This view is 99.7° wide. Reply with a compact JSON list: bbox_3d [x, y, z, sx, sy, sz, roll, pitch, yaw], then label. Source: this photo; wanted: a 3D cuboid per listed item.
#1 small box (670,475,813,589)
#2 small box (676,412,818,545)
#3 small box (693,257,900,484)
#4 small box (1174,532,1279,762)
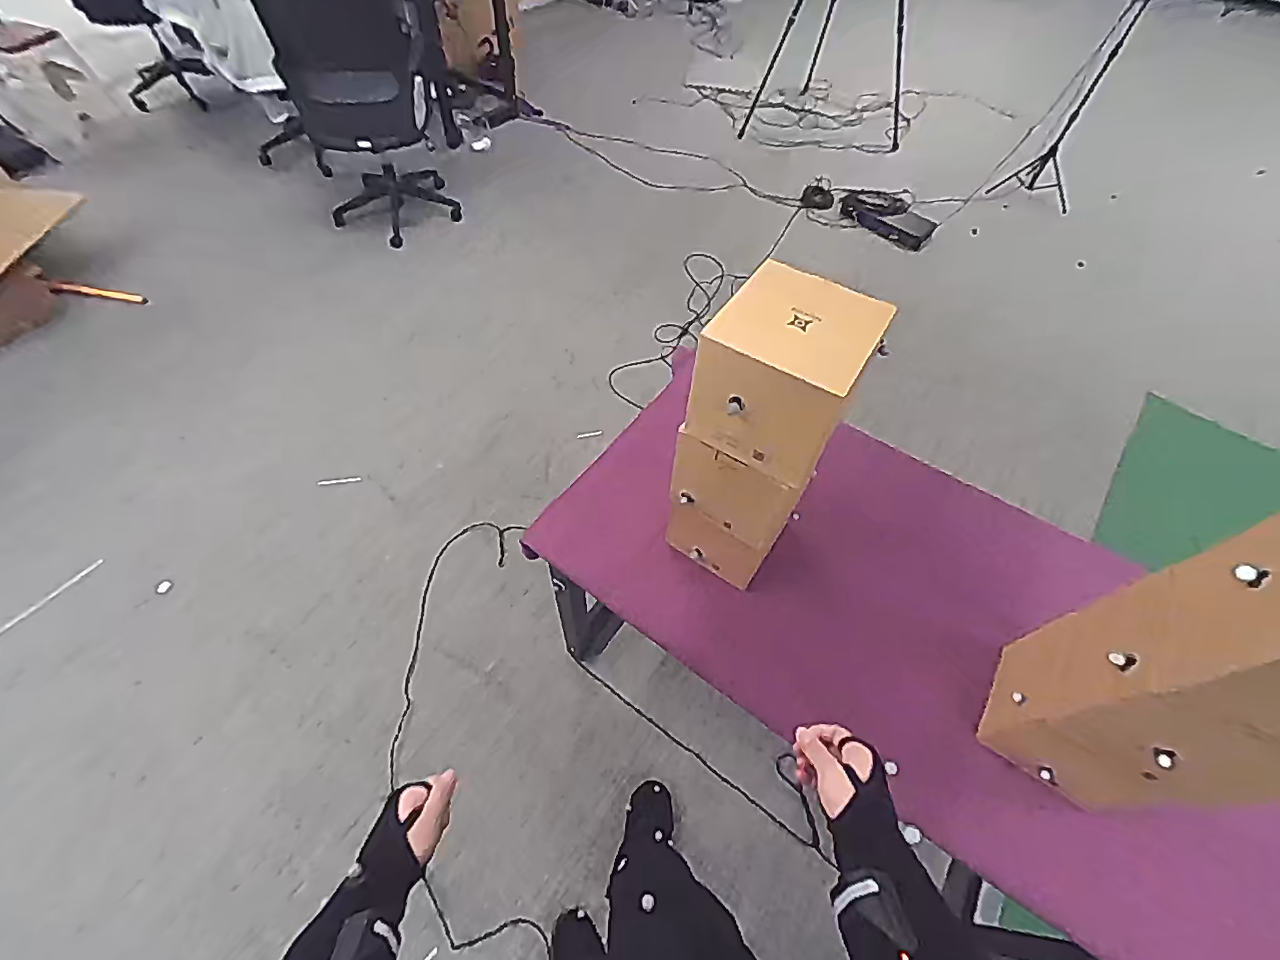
[{"bbox_3d":[0.163,0.050,0.921,0.168,0.176,0.179,31,60,18],"label":"small box"},{"bbox_3d":[0.164,-0.037,0.782,0.168,0.176,0.179,31,58,18],"label":"small box"},{"bbox_3d":[0.175,-0.127,0.648,0.168,0.176,0.179,29,57,17],"label":"small box"},{"bbox_3d":[0.632,0.151,0.478,0.168,0.176,0.179,30,58,18],"label":"small box"}]
